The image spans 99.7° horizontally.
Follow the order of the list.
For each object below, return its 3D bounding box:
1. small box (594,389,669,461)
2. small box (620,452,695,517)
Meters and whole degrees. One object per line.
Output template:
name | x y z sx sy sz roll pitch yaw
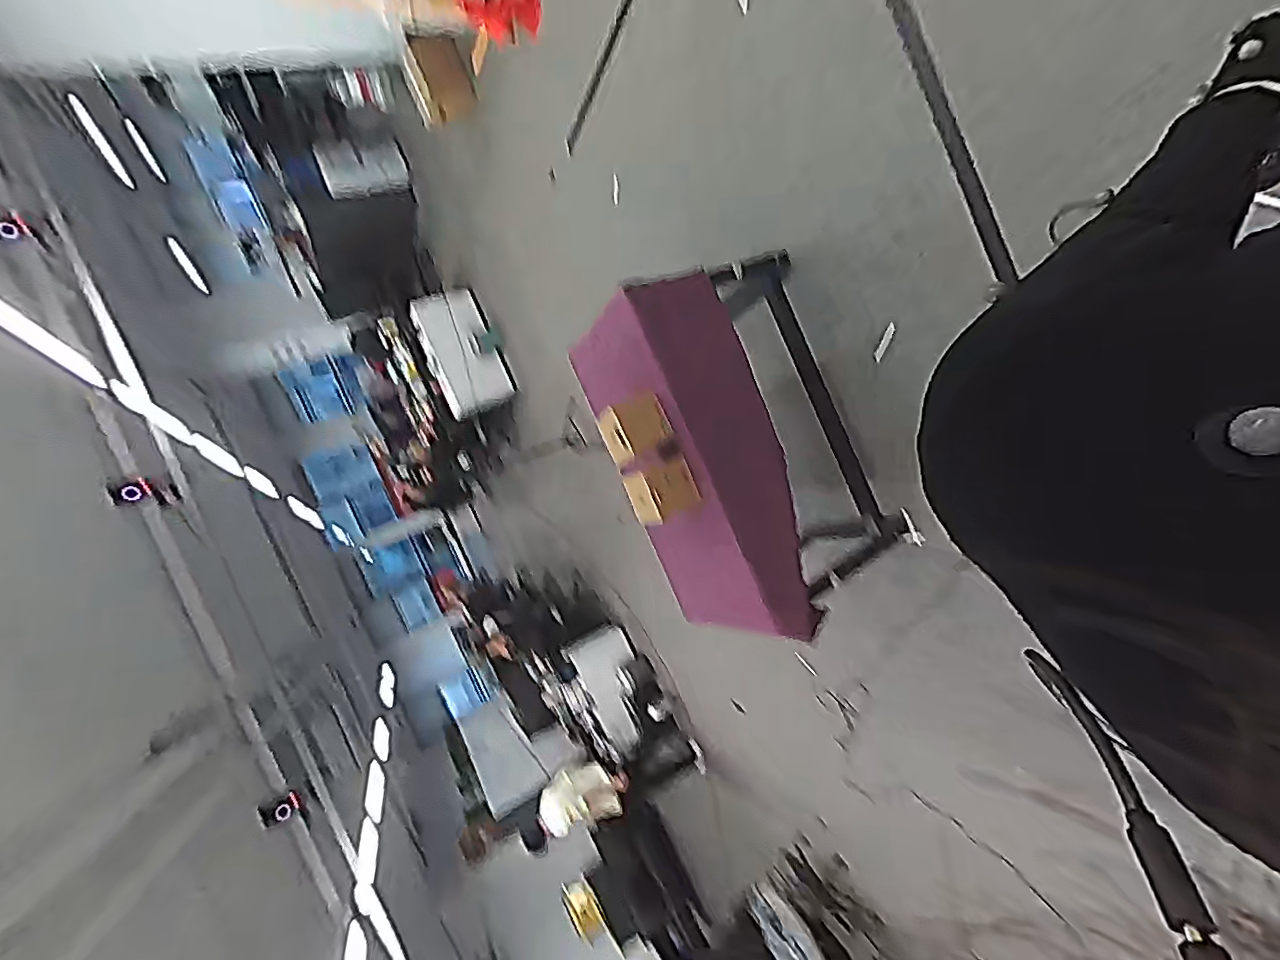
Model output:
small box | -0.025 -0.185 1.801 0.168 0.176 0.179 64 156 1
small box | 0.065 0.016 1.816 0.179 0.176 0.168 -10 103 64
